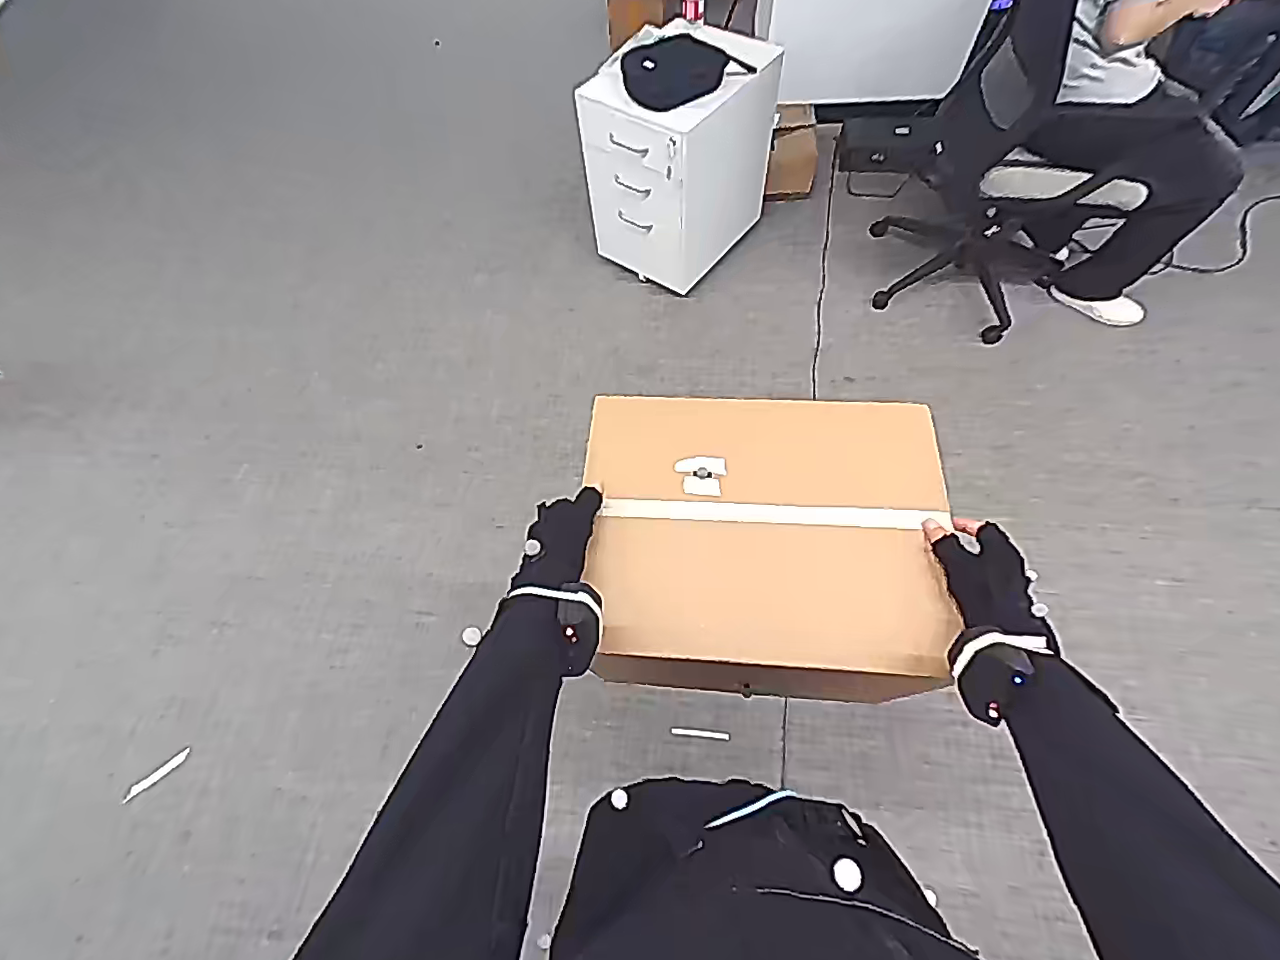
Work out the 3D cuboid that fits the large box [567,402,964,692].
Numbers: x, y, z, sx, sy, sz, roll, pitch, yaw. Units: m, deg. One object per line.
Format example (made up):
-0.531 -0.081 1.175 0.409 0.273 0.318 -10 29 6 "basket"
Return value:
0.146 0.106 0.743 0.408 0.320 0.320 2 63 7 "large box"
